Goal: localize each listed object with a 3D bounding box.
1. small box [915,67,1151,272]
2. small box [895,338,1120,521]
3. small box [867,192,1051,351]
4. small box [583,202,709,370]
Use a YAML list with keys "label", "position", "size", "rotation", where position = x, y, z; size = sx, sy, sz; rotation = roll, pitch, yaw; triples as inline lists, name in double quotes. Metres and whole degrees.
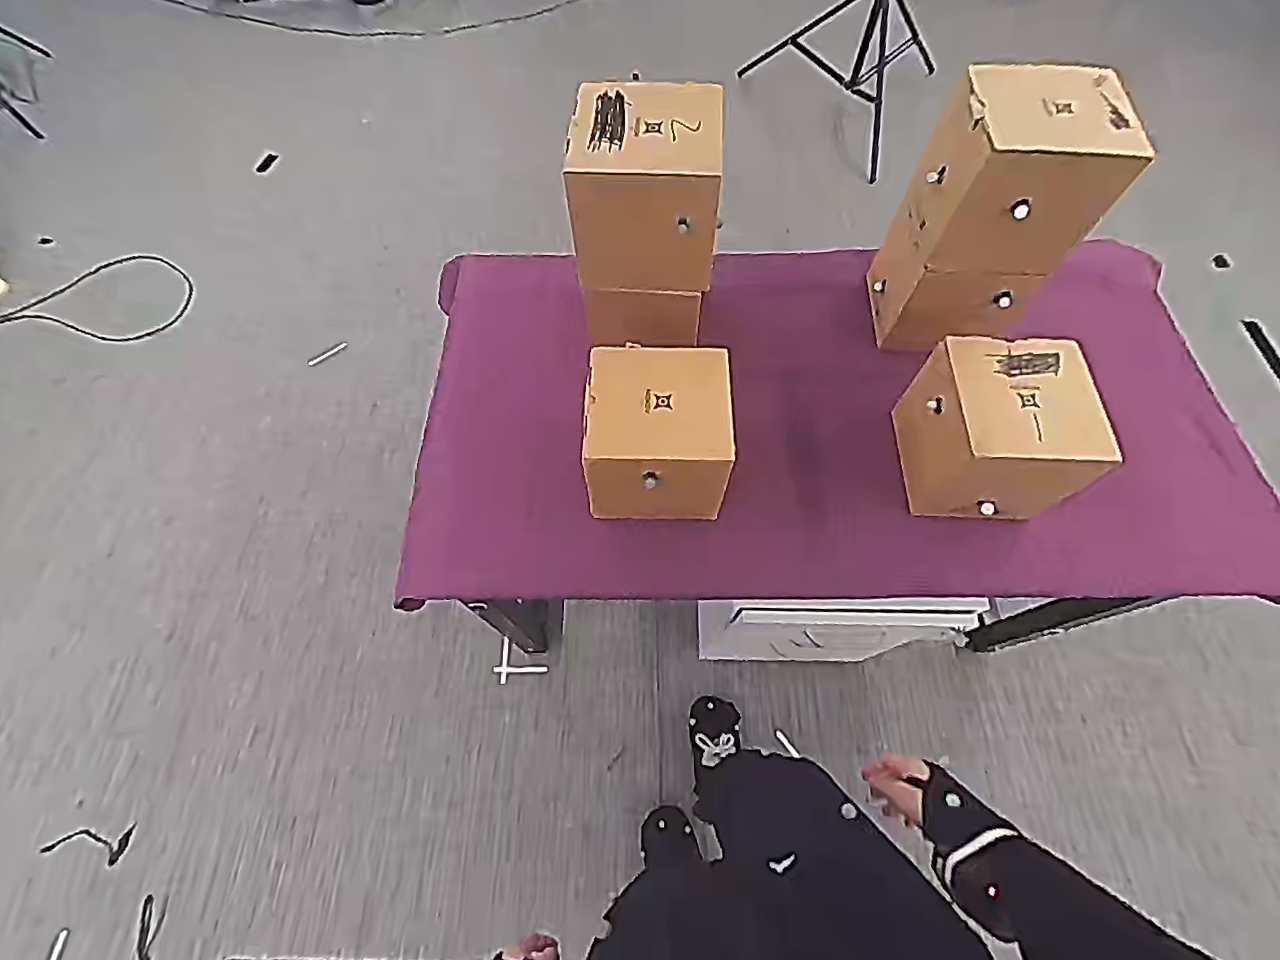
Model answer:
- label: "small box"
  position: [0.474, -0.389, 0.692]
  size: [0.179, 0.176, 0.168]
  rotation: [4, 65, 4]
- label: "small box"
  position: [0.458, -0.062, 0.712]
  size: [0.168, 0.176, 0.179]
  rotation: [2, 63, 3]
- label: "small box"
  position: [0.478, -0.316, 0.839]
  size: [0.179, 0.176, 0.168]
  rotation: [3, 64, 3]
- label: "small box"
  position: [0.013, -0.296, 0.838]
  size: [0.168, 0.176, 0.179]
  rotation: [4, 66, 4]
